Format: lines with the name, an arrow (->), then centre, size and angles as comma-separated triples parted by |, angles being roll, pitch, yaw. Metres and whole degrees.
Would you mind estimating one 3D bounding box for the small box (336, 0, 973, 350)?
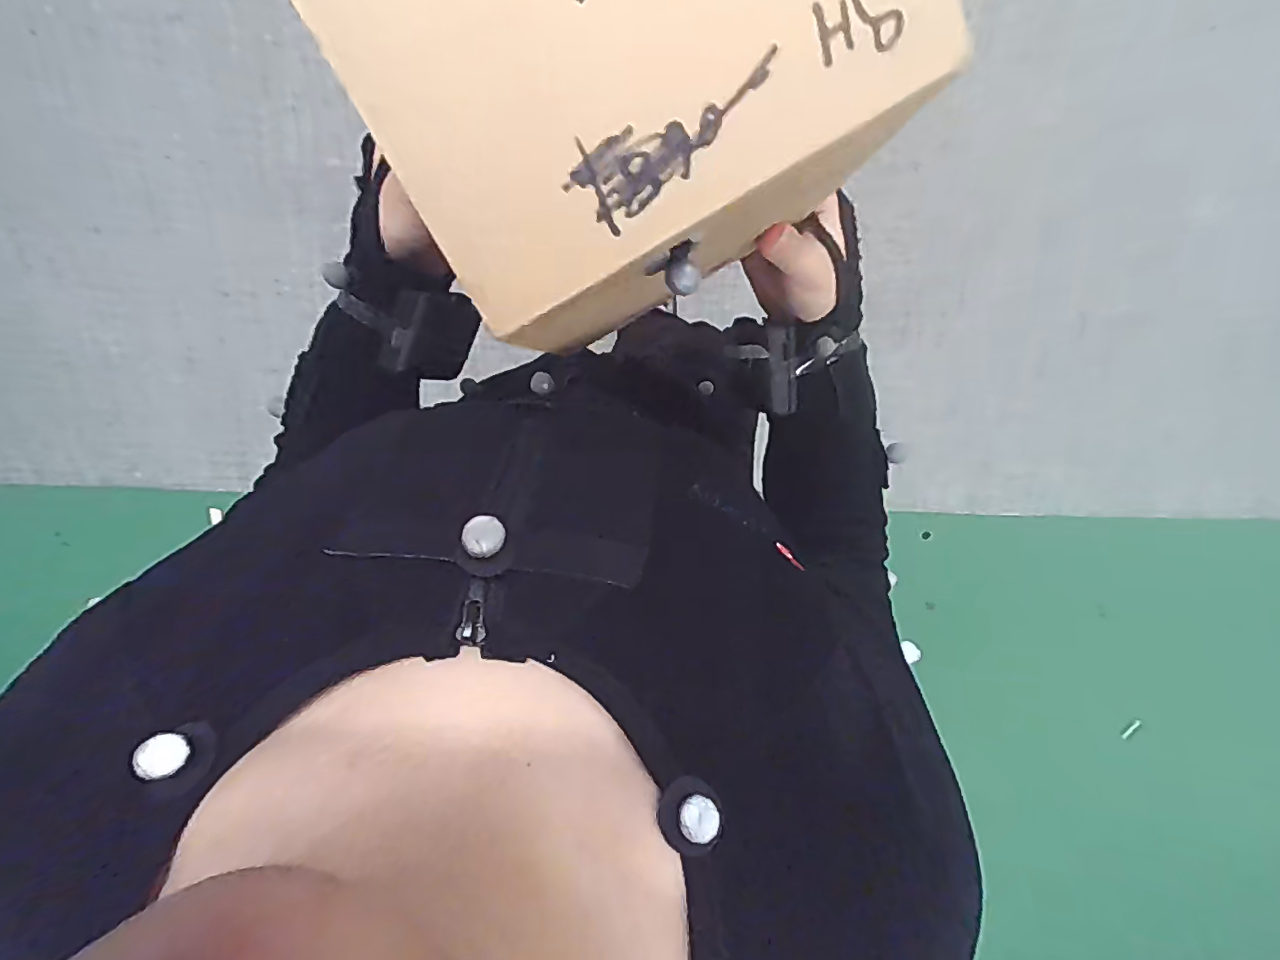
small box -> -0.009, -0.174, 0.239 | 0.168, 0.176, 0.179 | -30, 99, 6
